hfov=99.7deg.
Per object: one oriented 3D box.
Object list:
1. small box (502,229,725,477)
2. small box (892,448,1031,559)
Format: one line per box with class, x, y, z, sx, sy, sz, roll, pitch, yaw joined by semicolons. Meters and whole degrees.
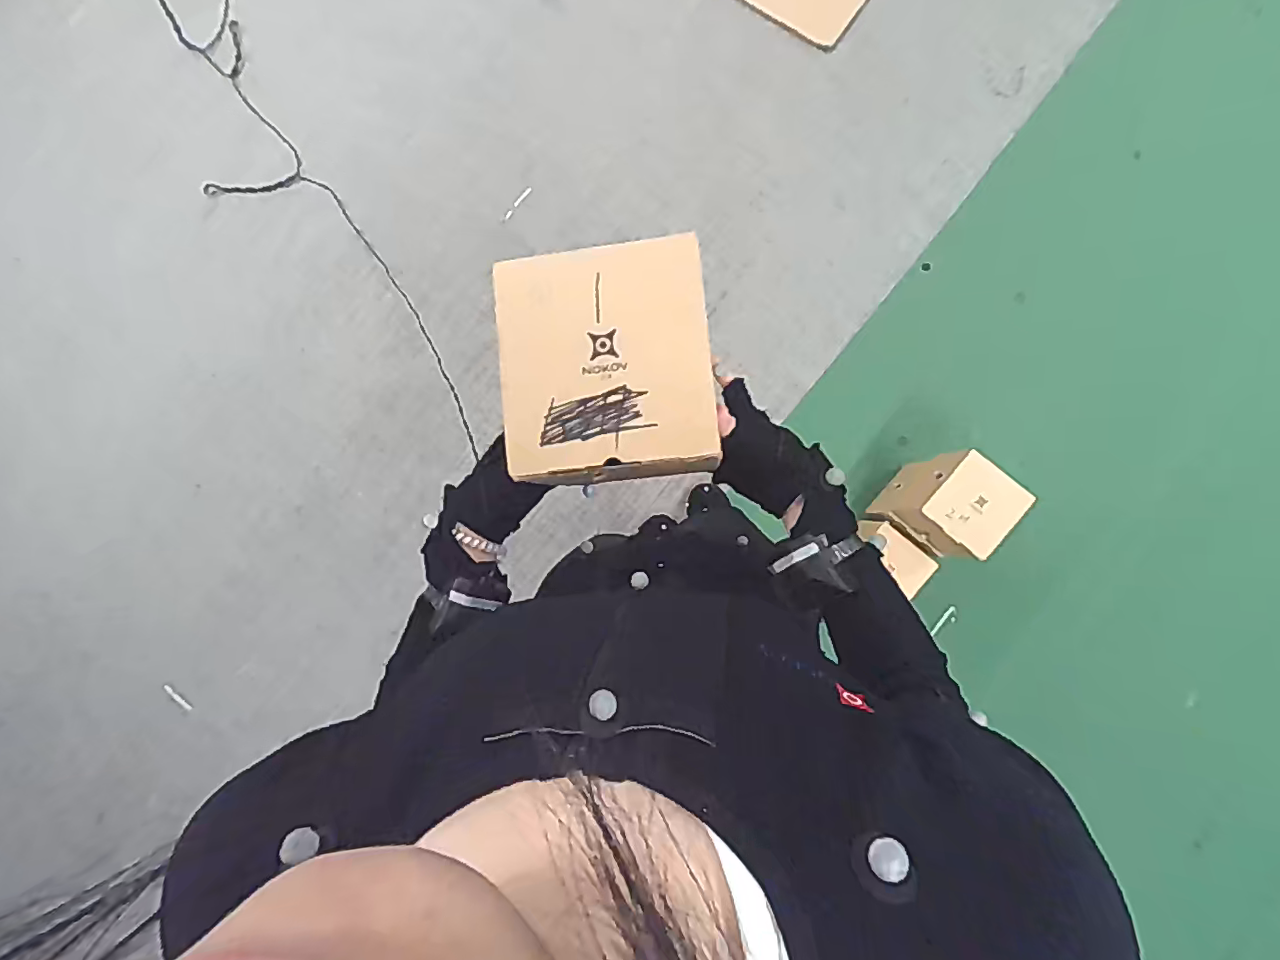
small box;-0.013;-0.096;0.496;0.168;0.176;0.179;-6;86;6
small box;0.707;0.052;1.212;0.168;0.176;0.179;41;90;5
